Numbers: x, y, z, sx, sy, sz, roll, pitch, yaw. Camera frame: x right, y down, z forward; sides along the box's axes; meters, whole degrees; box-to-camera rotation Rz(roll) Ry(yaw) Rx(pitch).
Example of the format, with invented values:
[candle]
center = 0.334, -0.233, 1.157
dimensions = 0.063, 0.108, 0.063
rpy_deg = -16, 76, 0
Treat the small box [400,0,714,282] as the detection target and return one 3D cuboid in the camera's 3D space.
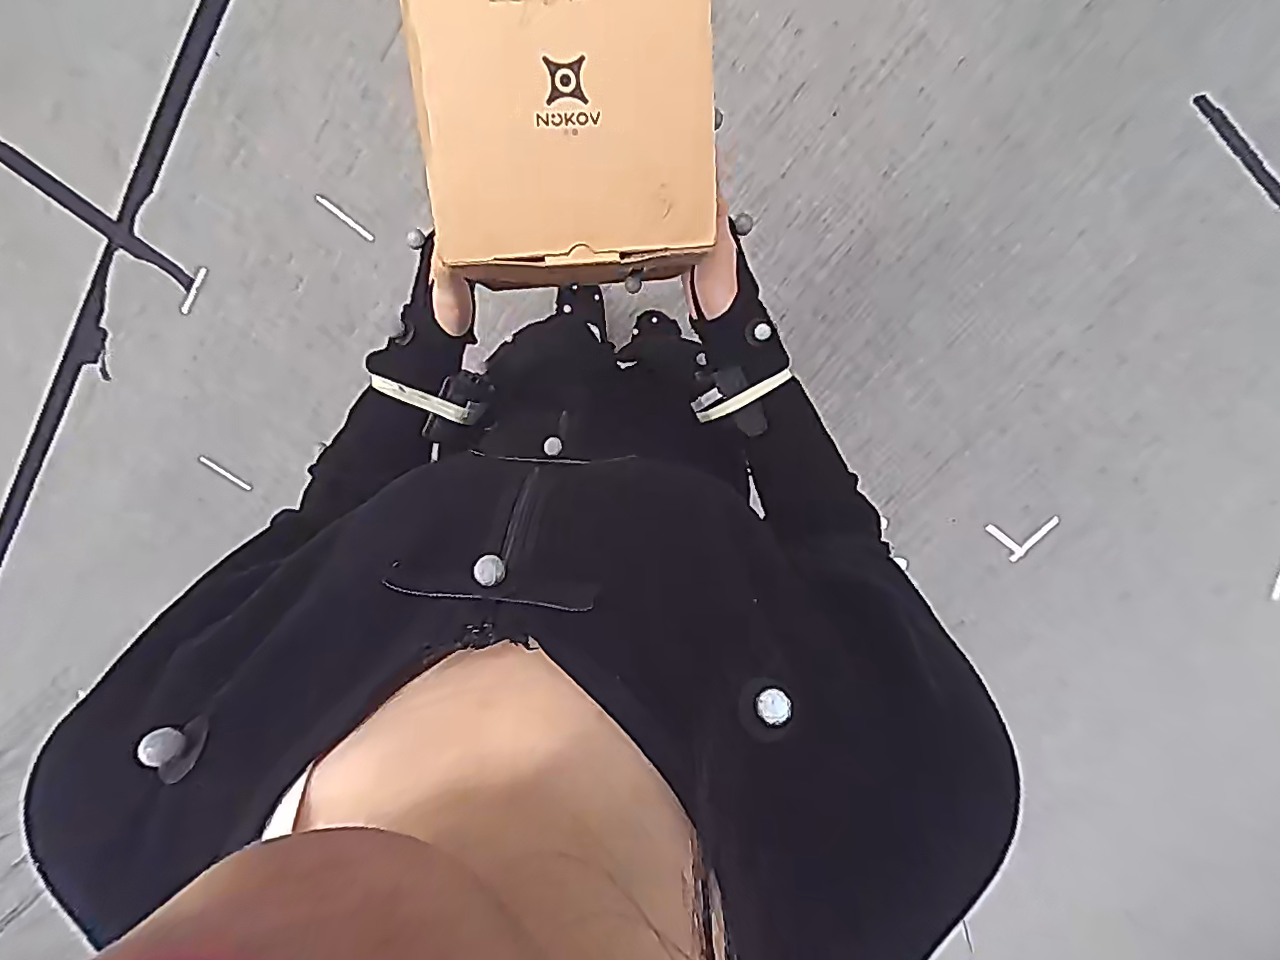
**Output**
[small box]
center = -0.048, -0.236, 0.372
dimensions = 0.168, 0.176, 0.179
rpy_deg = -6, 104, -5
